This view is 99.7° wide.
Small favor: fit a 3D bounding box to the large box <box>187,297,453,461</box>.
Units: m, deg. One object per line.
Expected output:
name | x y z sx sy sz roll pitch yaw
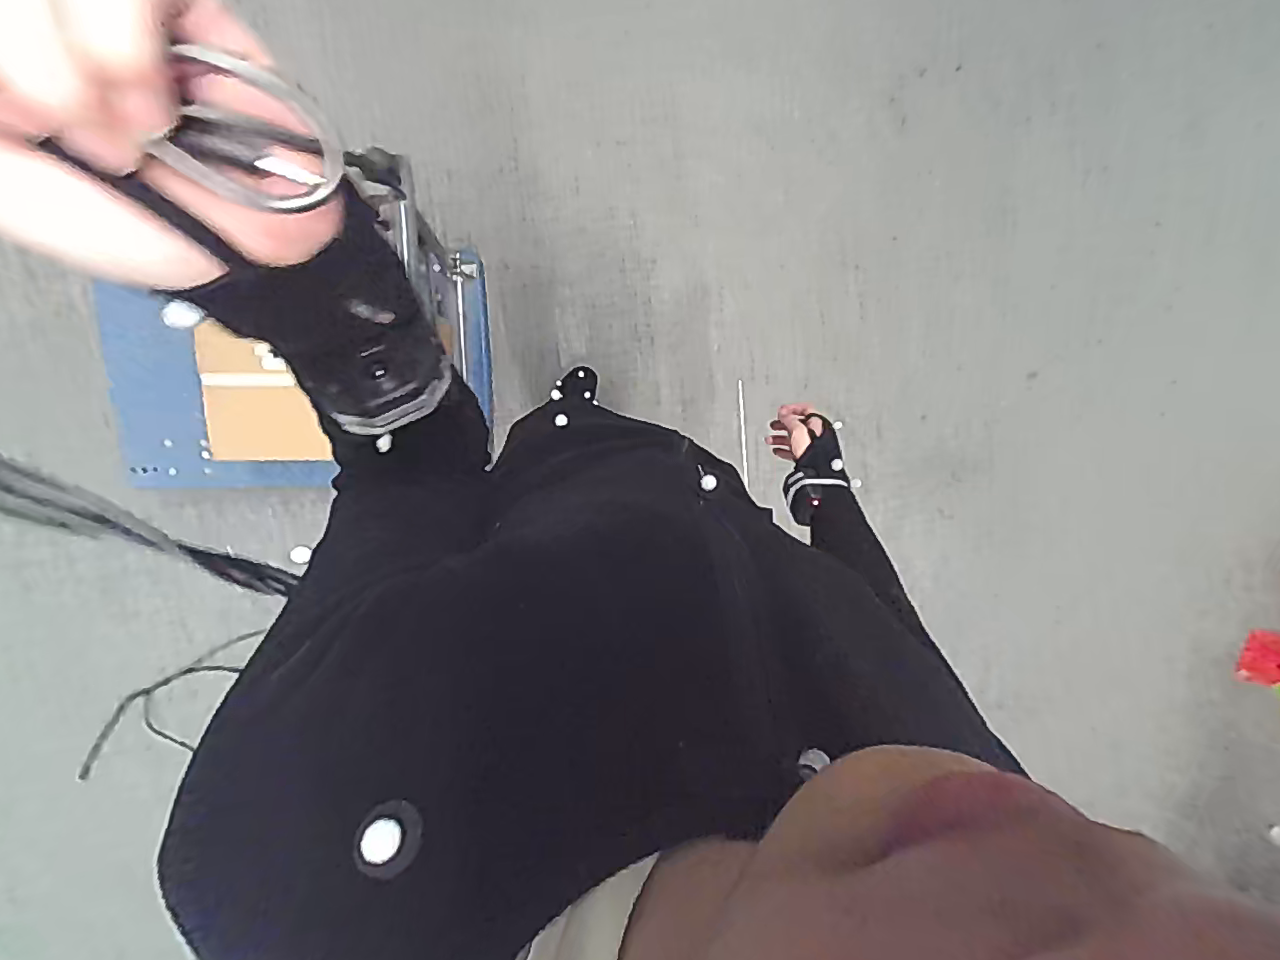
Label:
large box | -0.657 -0.217 1.190 0.408 0.320 0.320 0 99 -7
